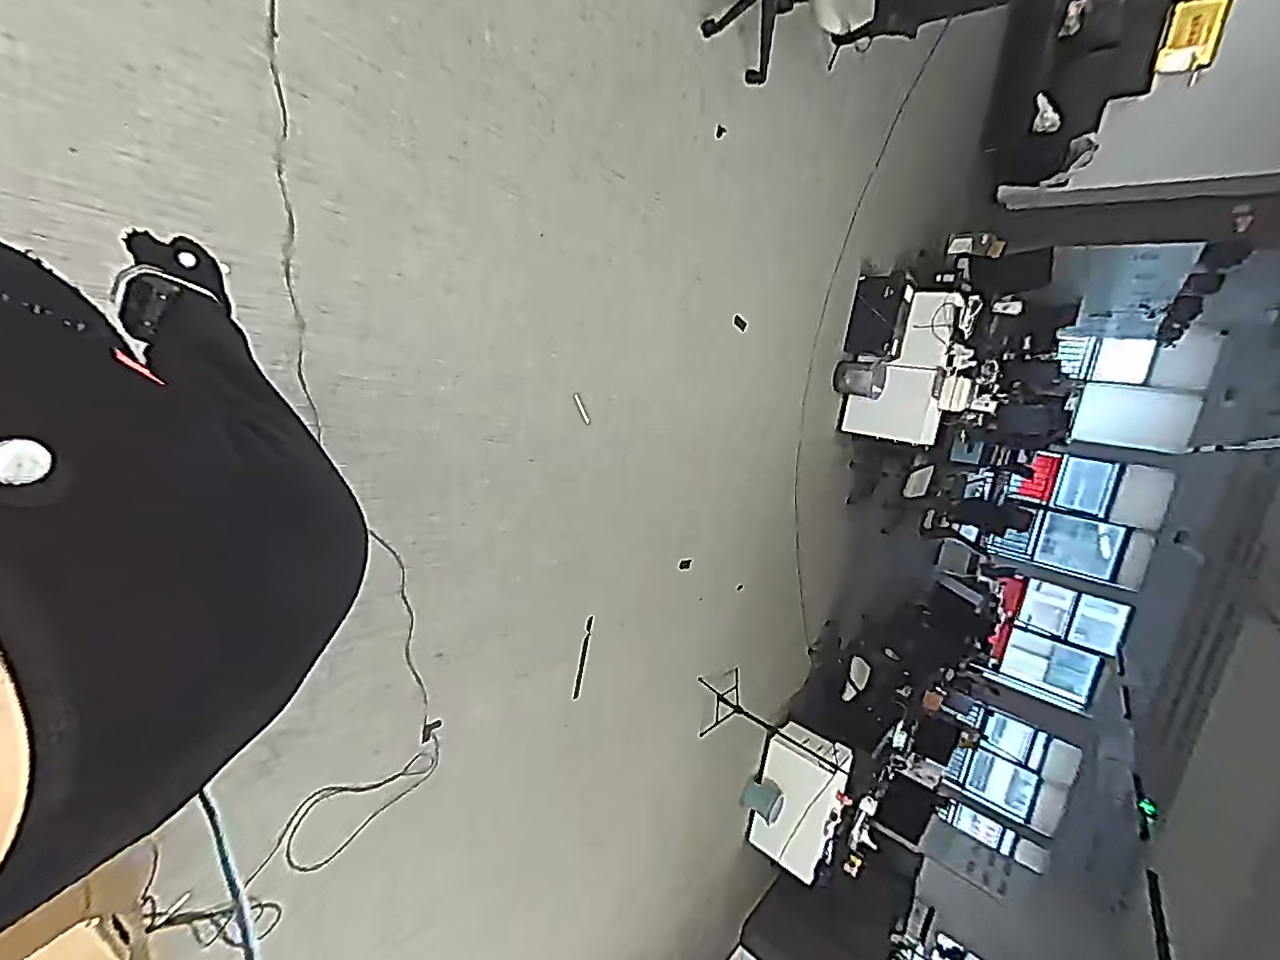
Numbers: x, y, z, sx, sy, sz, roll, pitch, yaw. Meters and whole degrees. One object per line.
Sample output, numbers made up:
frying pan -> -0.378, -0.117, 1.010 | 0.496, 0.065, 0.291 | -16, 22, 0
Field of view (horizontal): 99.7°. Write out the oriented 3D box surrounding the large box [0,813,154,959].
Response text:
large box -> -1.277, 0.977, 1.046 | 0.408, 0.320, 0.320 | -30, 125, -42
